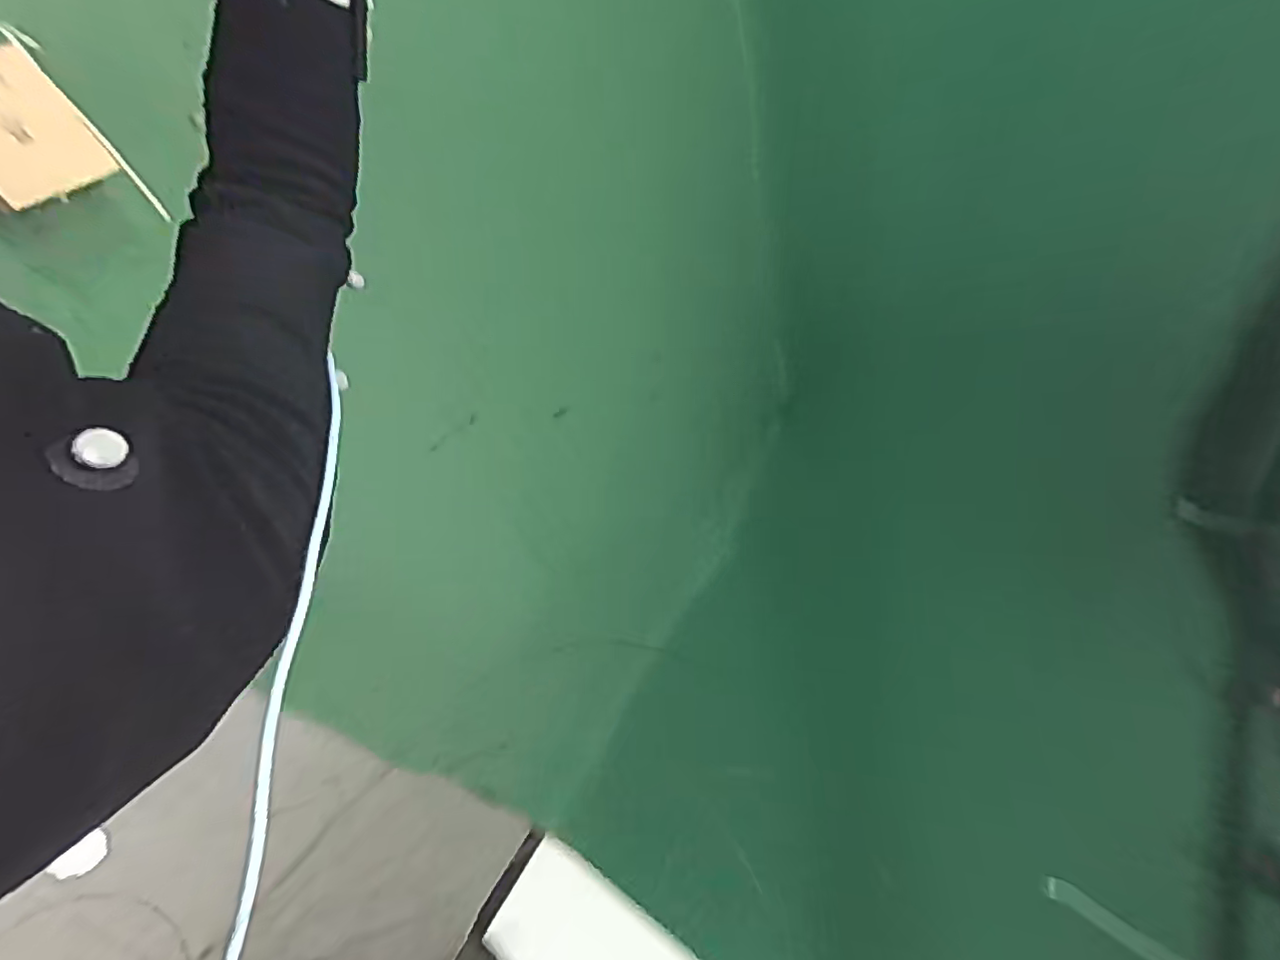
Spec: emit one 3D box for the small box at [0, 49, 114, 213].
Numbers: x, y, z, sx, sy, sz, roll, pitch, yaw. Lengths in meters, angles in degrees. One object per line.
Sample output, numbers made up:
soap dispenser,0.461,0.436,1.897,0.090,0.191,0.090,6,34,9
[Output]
small box,-1.021,-0.551,0.867,0.168,0.176,0.179,-51,141,-29
